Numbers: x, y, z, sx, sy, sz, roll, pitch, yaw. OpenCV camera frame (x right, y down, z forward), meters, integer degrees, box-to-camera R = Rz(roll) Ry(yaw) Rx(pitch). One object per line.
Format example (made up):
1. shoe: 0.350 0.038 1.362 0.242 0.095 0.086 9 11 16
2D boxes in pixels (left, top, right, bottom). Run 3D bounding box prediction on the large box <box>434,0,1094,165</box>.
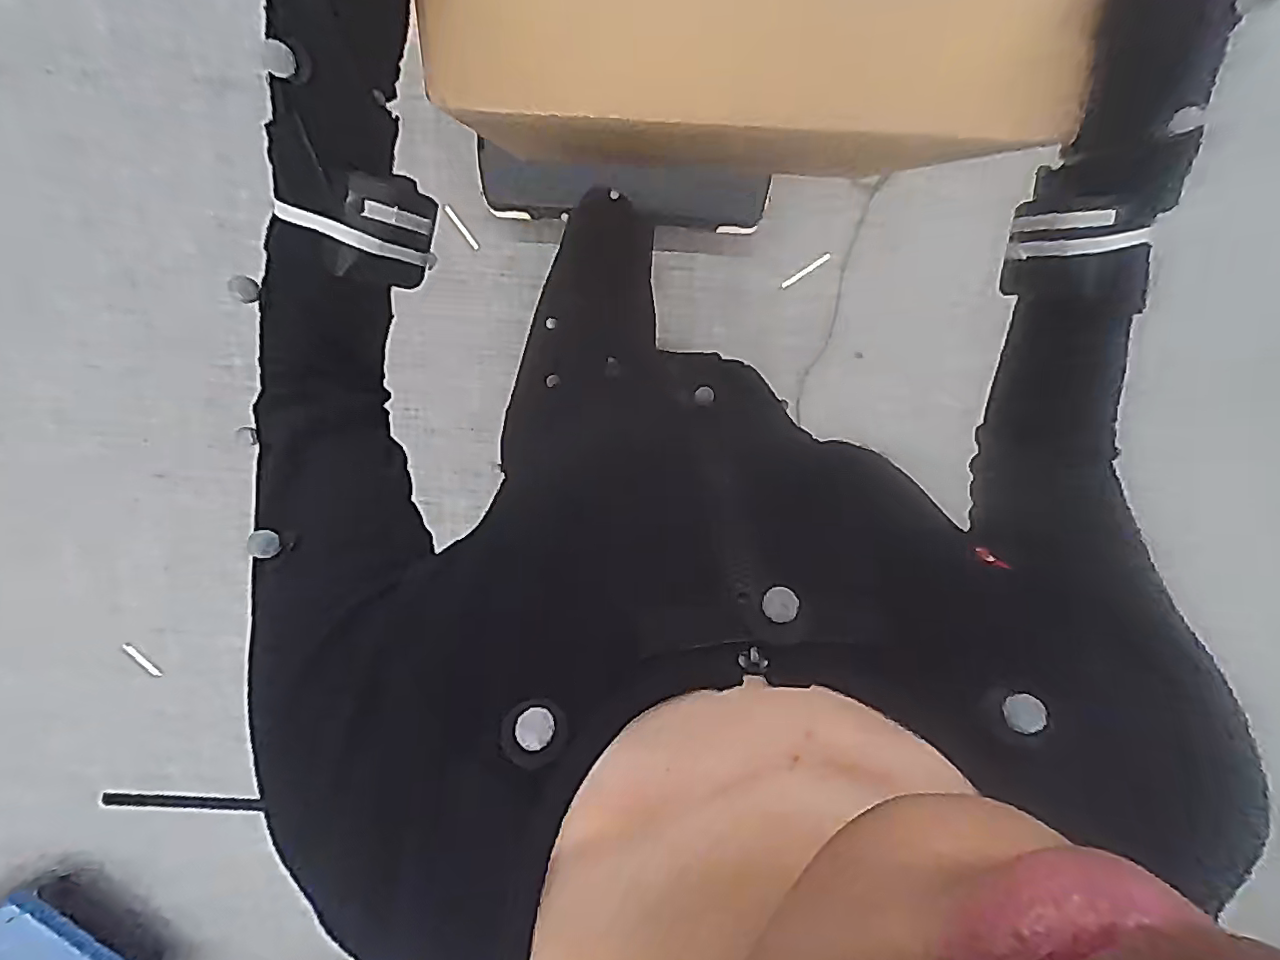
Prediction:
1. large box: 0.070 -0.435 0.412 0.408 0.320 0.320 0 116 -4
